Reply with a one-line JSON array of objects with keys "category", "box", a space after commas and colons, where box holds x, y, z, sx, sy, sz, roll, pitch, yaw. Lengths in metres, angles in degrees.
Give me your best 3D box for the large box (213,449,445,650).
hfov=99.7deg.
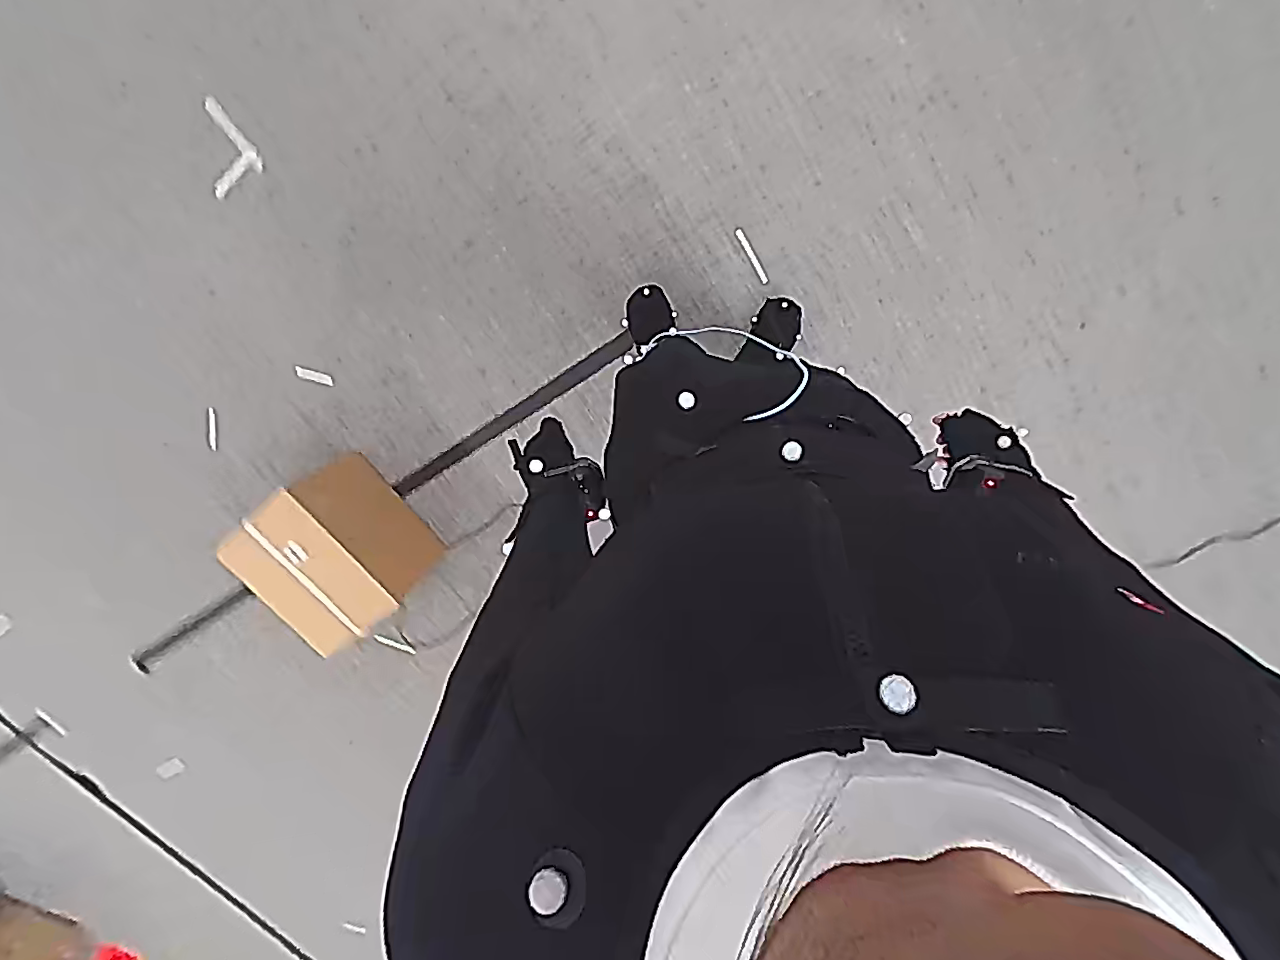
[{"category": "large box", "box": [-0.849, 0.187, 1.529, 0.320, 0.320, 0.408, -35, 103, 16]}]
